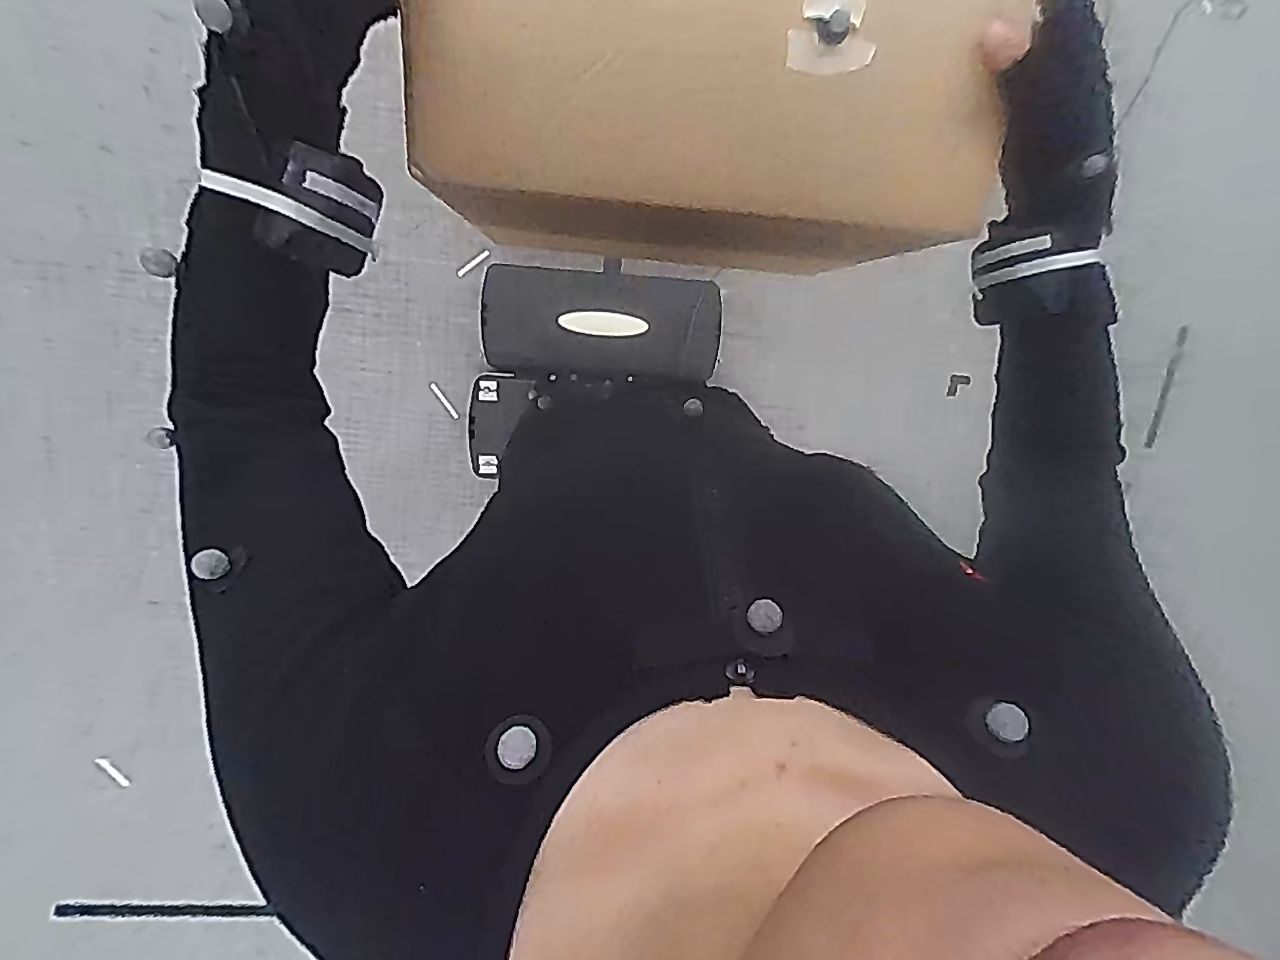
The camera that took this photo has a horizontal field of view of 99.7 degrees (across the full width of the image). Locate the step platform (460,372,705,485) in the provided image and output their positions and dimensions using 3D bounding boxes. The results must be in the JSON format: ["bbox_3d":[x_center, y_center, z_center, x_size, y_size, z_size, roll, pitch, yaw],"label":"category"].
[{"bbox_3d":[-0.157,-0.146,1.547,0.684,0.204,0.286,3,100,-5],"label":"step platform"}]

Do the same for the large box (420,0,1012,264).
[{"bbox_3d":[0.044,-0.388,0.490,0.408,0.320,0.320,2,106,-7],"label":"large box"}]
